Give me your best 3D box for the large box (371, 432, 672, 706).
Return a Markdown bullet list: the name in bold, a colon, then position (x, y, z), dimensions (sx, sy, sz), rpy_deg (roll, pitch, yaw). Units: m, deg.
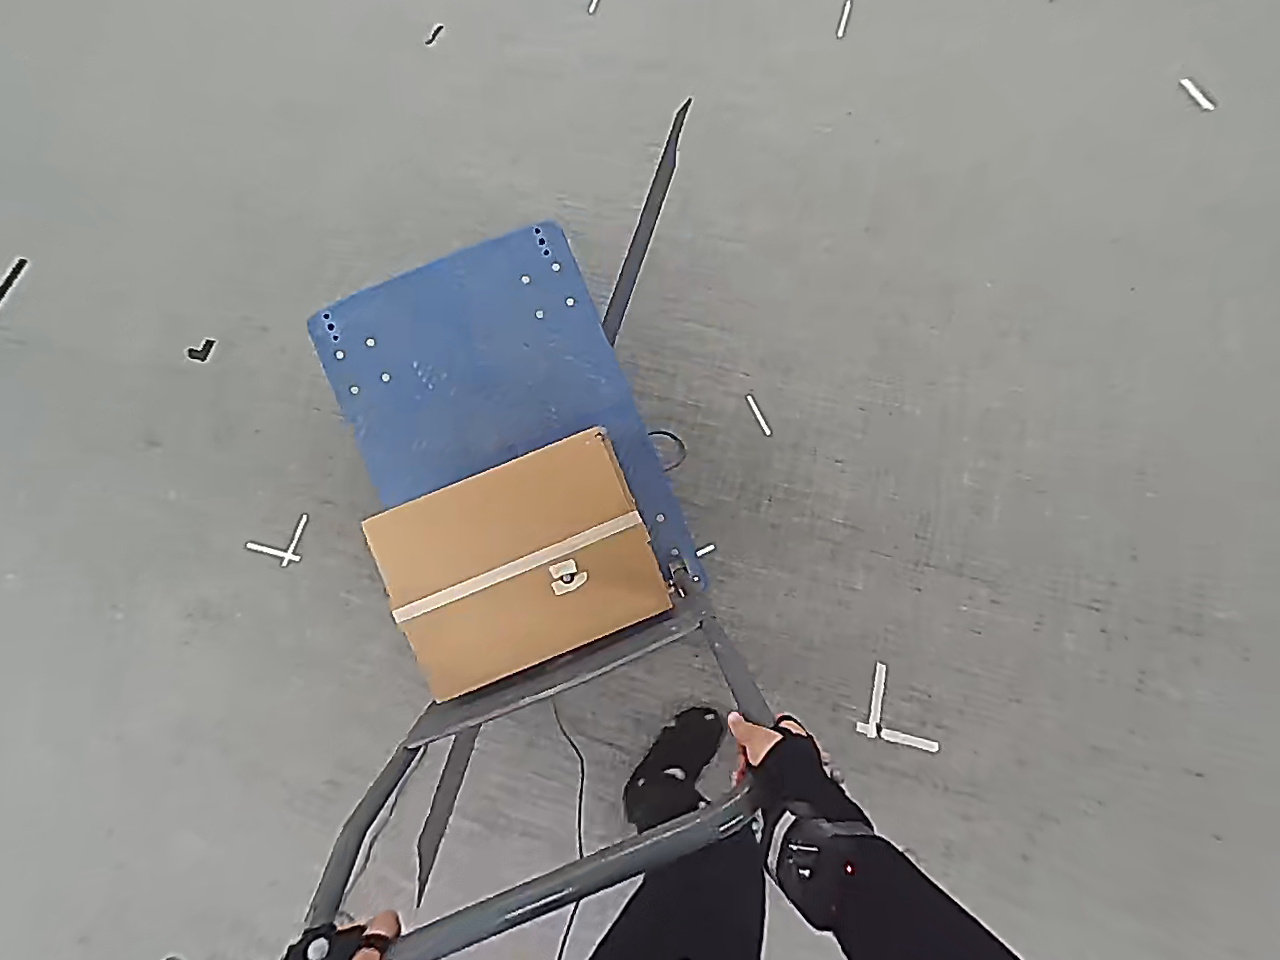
- **large box**: position (-0.193, 0.142, 1.005), dimensions (0.408, 0.320, 0.320), rpy_deg (-23, 91, -2)
